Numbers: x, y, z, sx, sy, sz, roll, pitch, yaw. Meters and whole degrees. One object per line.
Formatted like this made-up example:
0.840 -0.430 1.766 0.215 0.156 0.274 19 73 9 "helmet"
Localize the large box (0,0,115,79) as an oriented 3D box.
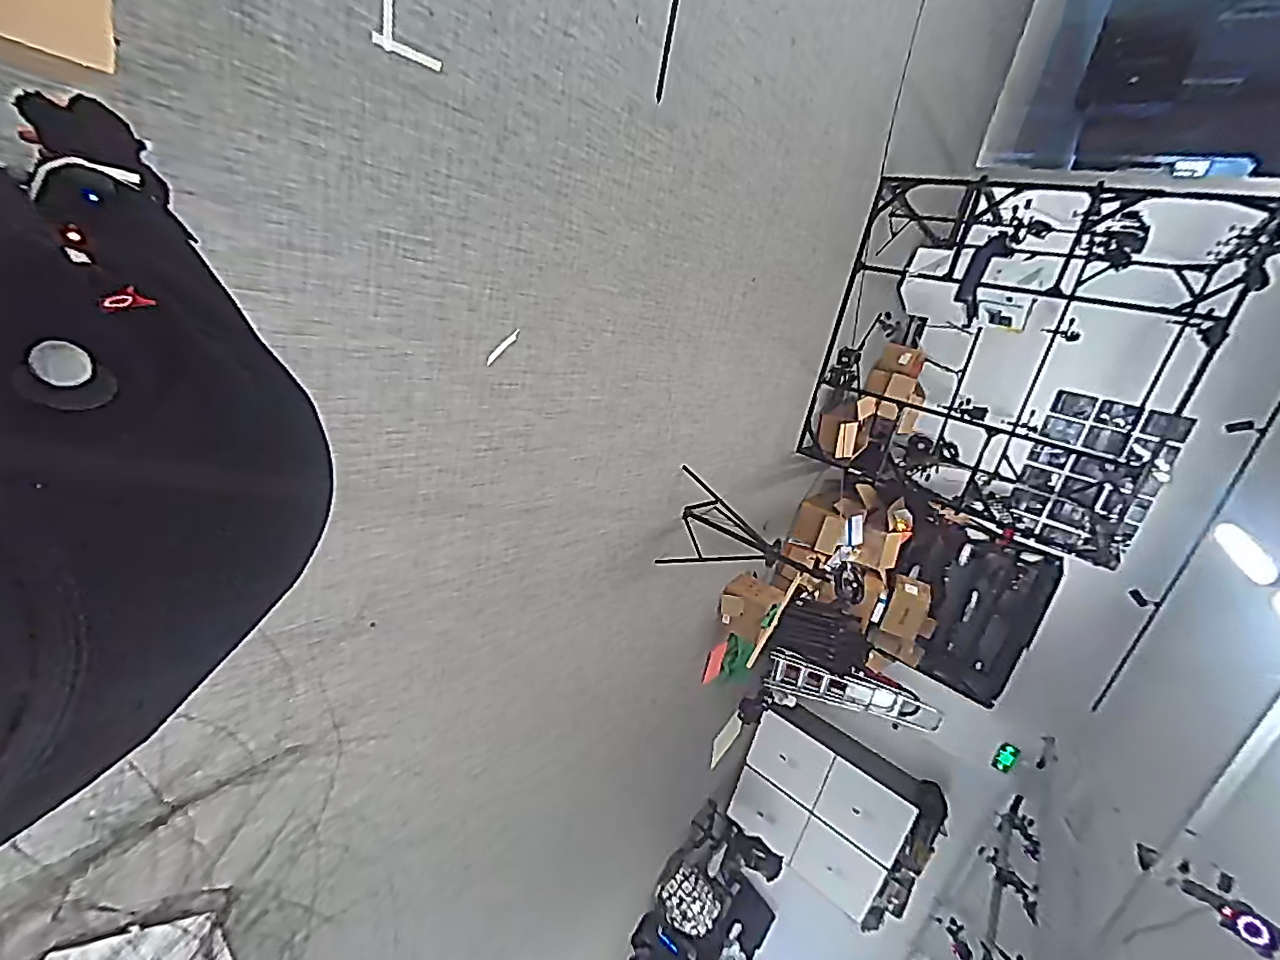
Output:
-0.970 -0.762 0.666 0.408 0.320 0.320 -11 121 -53 "large box"
